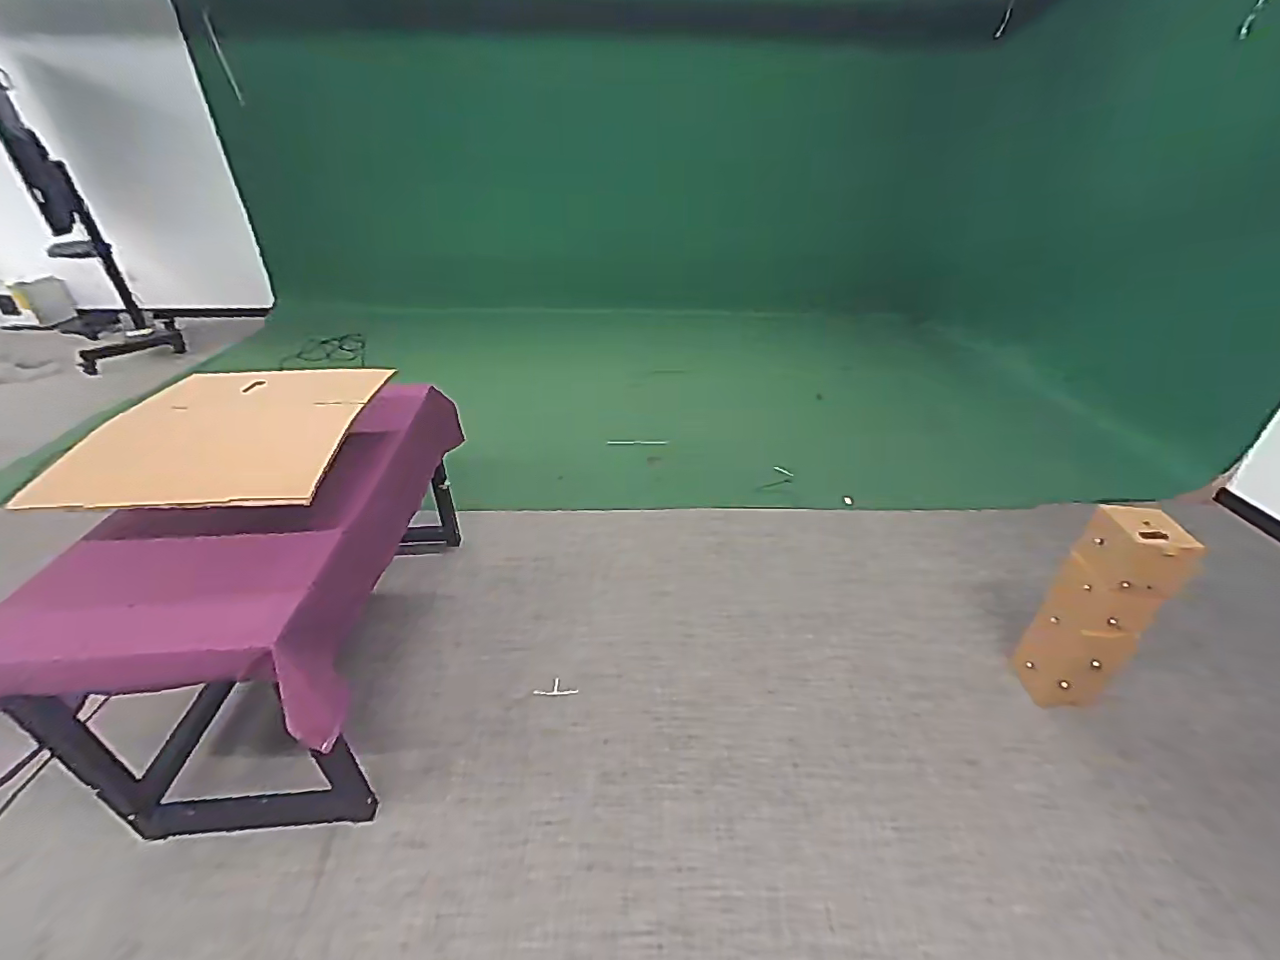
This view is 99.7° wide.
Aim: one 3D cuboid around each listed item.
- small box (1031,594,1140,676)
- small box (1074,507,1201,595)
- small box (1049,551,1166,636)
[{"bbox_3d":[1.354,0.475,1.662,0.168,0.176,0.179,1,33,2],"label":"small box"},{"bbox_3d":[1.359,0.196,1.492,0.168,0.176,0.179,5,32,6],"label":"small box"},{"bbox_3d":[1.354,0.332,1.584,0.168,0.176,0.179,3,34,5],"label":"small box"}]
